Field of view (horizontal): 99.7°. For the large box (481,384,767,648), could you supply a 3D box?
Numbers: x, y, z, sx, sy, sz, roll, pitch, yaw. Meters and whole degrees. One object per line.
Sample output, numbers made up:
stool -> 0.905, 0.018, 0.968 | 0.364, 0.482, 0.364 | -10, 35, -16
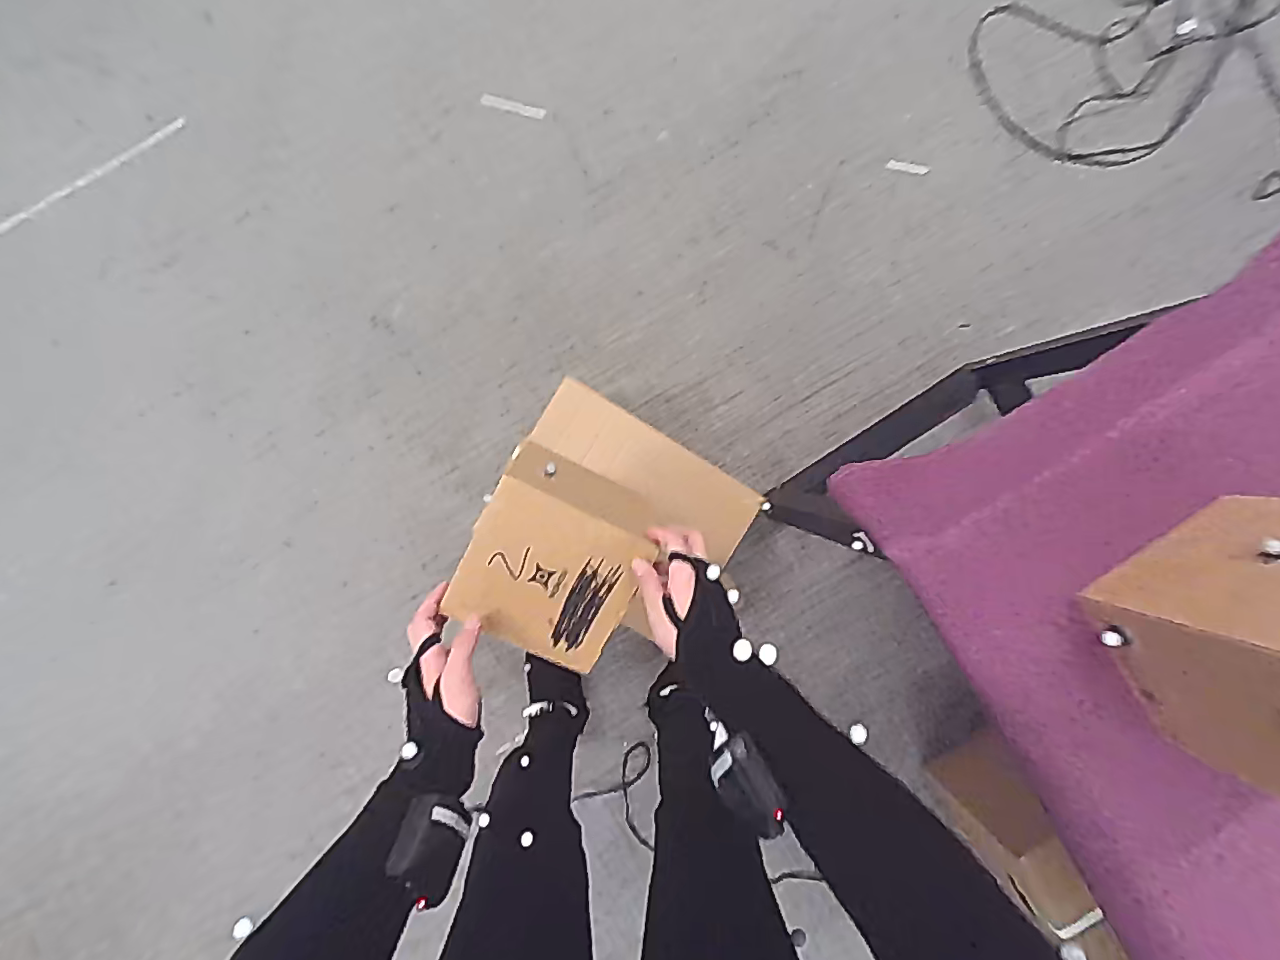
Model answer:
large box -> -0.035, 0.061, 1.069 | 0.408, 0.320, 0.320 | 31, 90, -3

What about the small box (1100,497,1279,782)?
small box -> 0.522, 0.127, 0.425 | 0.179, 0.176, 0.168 | -33, 92, -2
